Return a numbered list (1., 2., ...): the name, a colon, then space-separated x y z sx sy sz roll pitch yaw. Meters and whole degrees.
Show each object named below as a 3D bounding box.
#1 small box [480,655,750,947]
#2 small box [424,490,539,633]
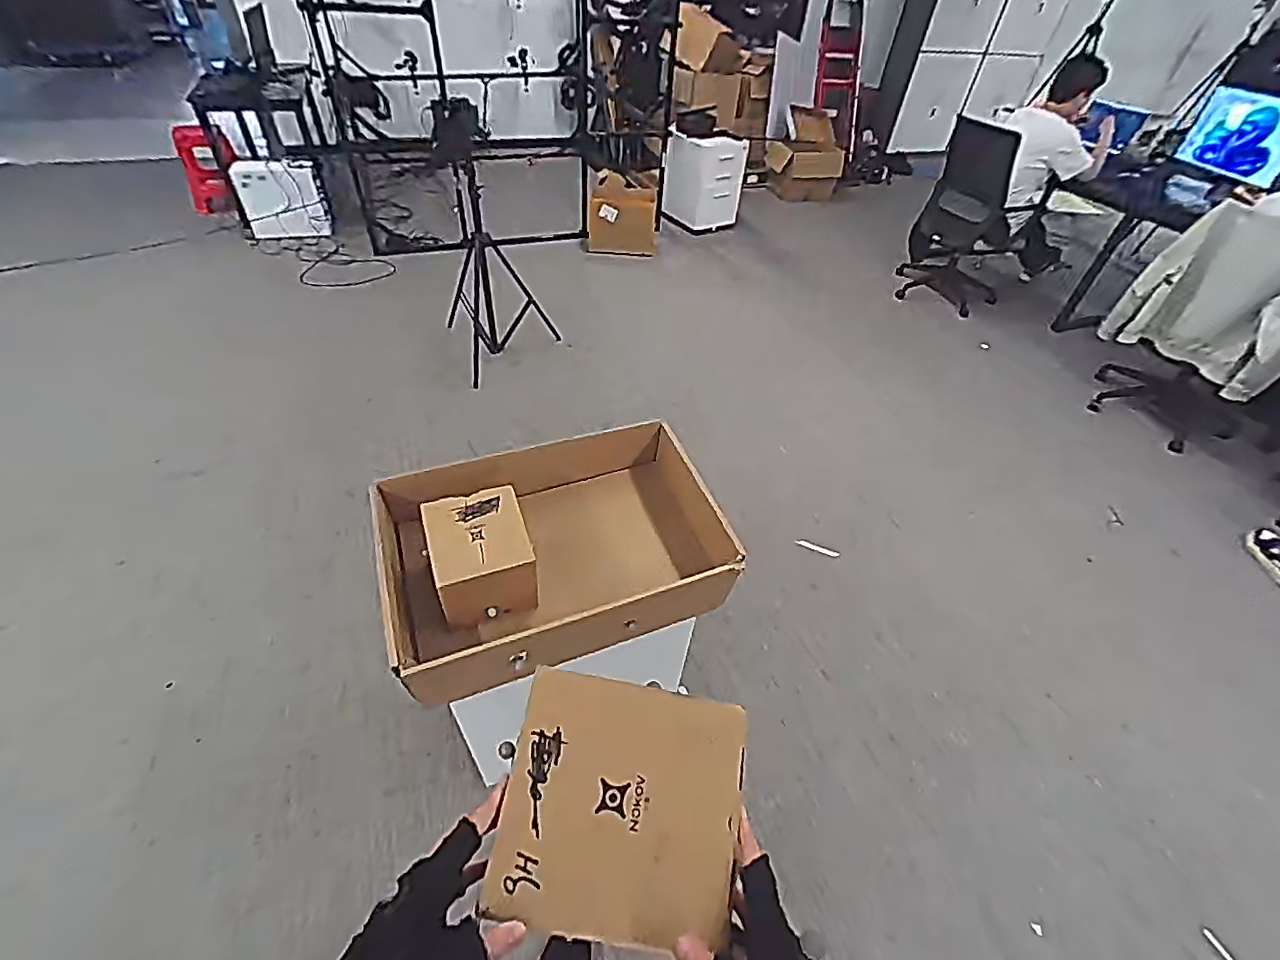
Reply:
1. small box: -0.019 0.264 0.471 0.179 0.176 0.168 12 62 -1
2. small box: -0.288 0.149 0.995 0.168 0.176 0.179 -14 53 -19
